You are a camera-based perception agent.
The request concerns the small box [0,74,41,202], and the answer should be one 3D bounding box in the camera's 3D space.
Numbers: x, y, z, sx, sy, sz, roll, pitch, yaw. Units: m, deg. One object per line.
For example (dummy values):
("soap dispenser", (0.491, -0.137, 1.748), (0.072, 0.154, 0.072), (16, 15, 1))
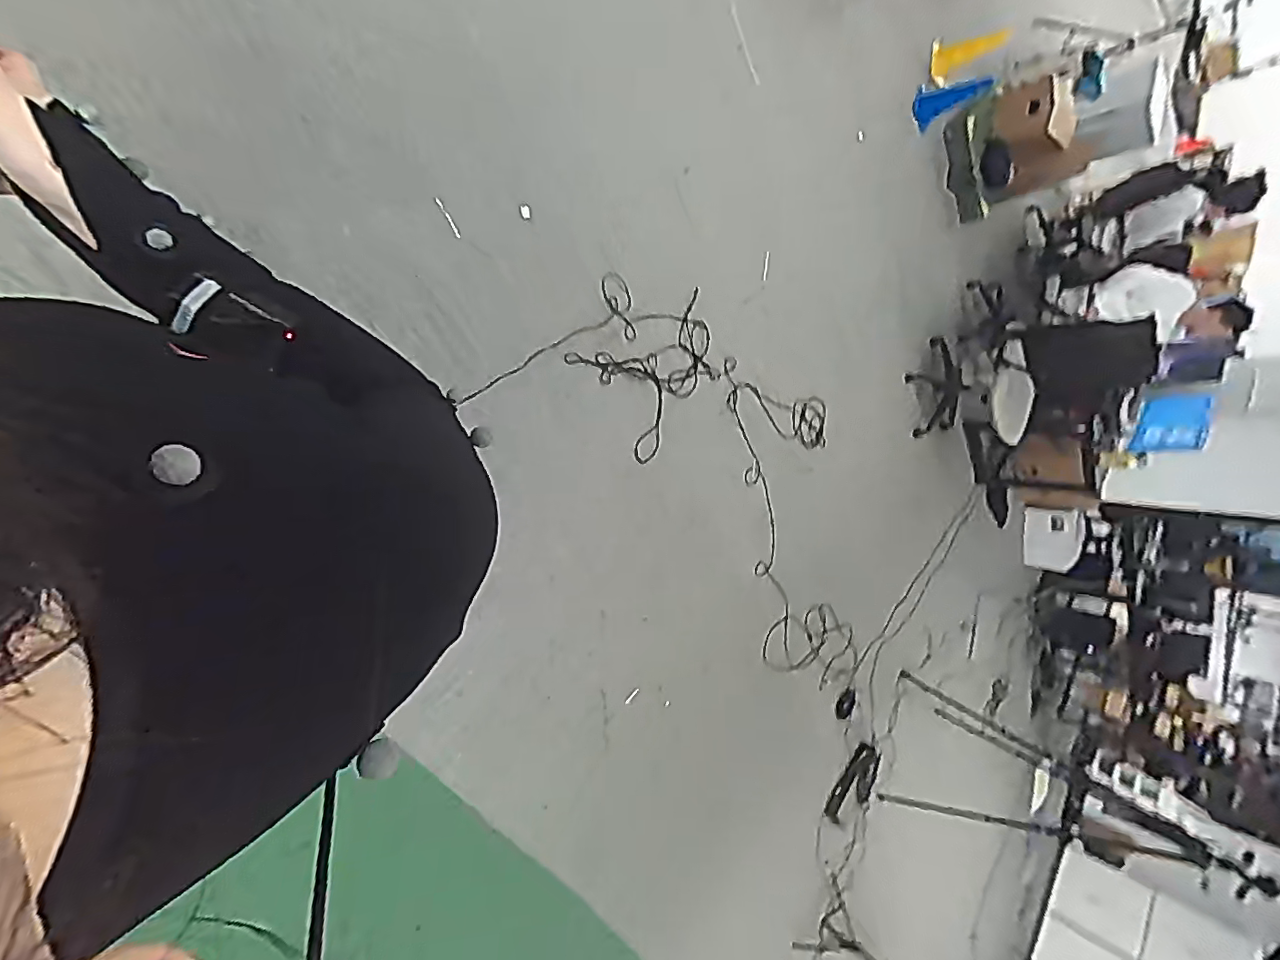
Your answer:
("small box", (-0.481, -0.258, 0.290), (0.168, 0.176, 0.179), (-20, 114, -35))
